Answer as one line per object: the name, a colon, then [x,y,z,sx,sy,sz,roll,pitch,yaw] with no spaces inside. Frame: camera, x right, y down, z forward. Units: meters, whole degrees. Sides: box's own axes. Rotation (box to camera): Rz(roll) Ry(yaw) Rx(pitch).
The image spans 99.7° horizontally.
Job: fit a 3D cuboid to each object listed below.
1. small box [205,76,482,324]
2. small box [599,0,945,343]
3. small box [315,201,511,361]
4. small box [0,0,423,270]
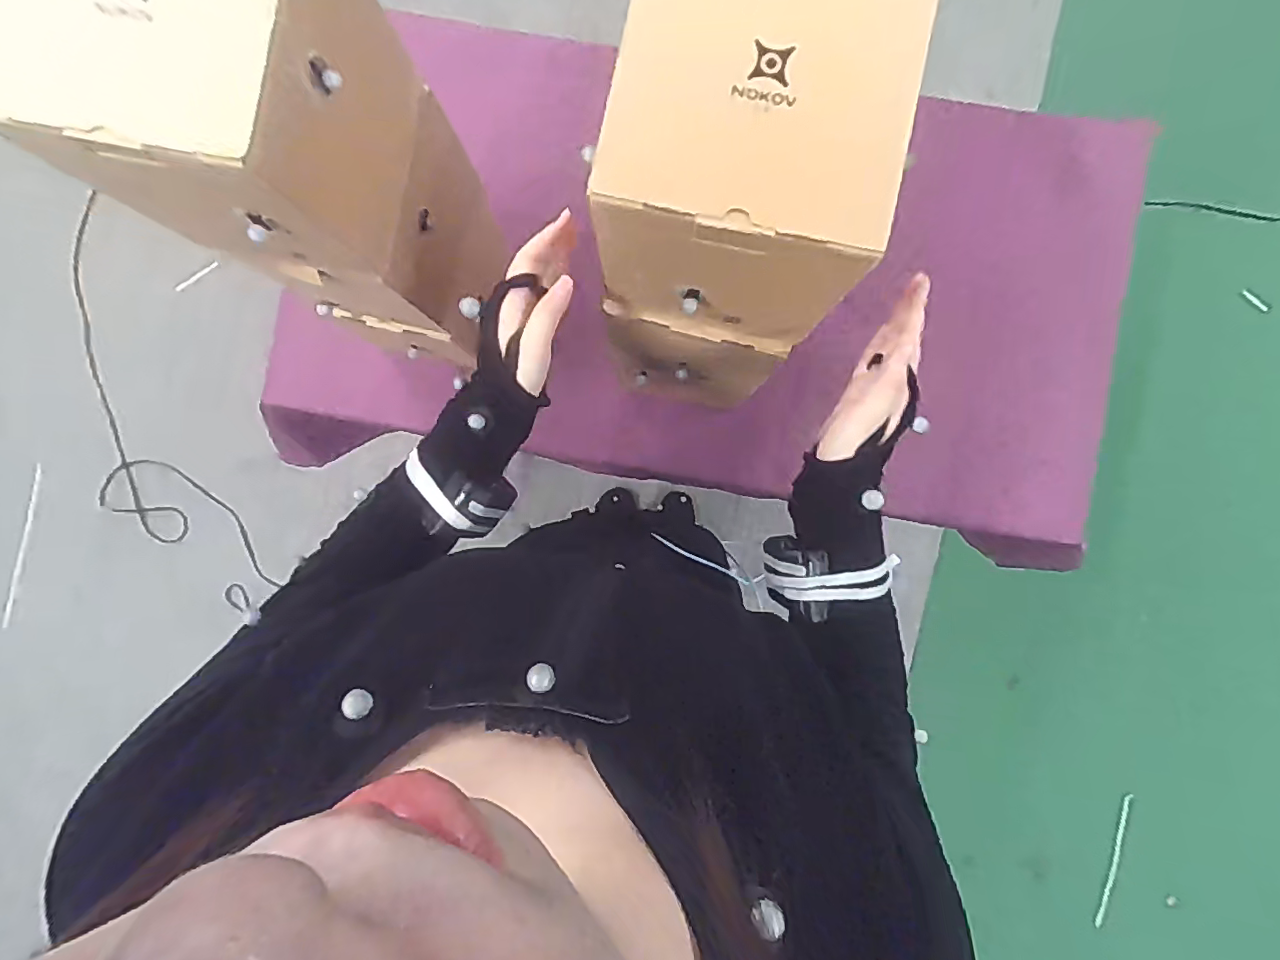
small box: [-0.274,-0.275,0.541,0.168,0.176,0.179,14,89,0]
small box: [0.073,-0.216,0.378,0.168,0.176,0.179,13,90,0]
small box: [-0.279,-0.268,0.706,0.168,0.176,0.179,14,90,-1]
small box: [-0.274,-0.272,0.379,0.168,0.176,0.179,12,89,-1]
